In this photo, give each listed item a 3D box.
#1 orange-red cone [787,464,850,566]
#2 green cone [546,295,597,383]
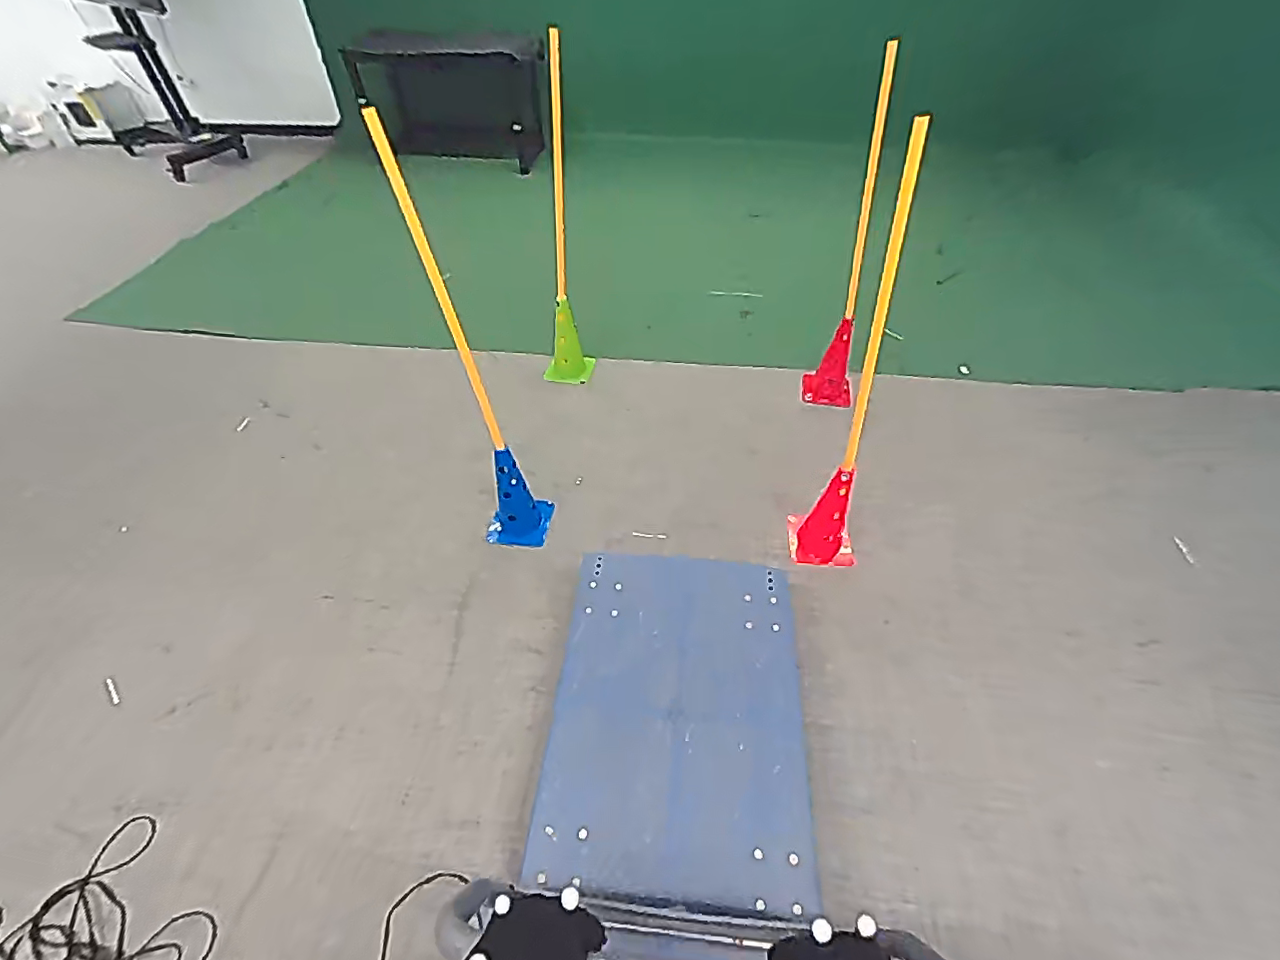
[{"bbox_3d":[0.593,0.087,1.691,0.199,0.360,0.198,3,47,5],"label":"orange-red cone"},{"bbox_3d":[-0.311,-0.626,2.335,0.202,0.368,0.200,8,48,8],"label":"green cone"}]
